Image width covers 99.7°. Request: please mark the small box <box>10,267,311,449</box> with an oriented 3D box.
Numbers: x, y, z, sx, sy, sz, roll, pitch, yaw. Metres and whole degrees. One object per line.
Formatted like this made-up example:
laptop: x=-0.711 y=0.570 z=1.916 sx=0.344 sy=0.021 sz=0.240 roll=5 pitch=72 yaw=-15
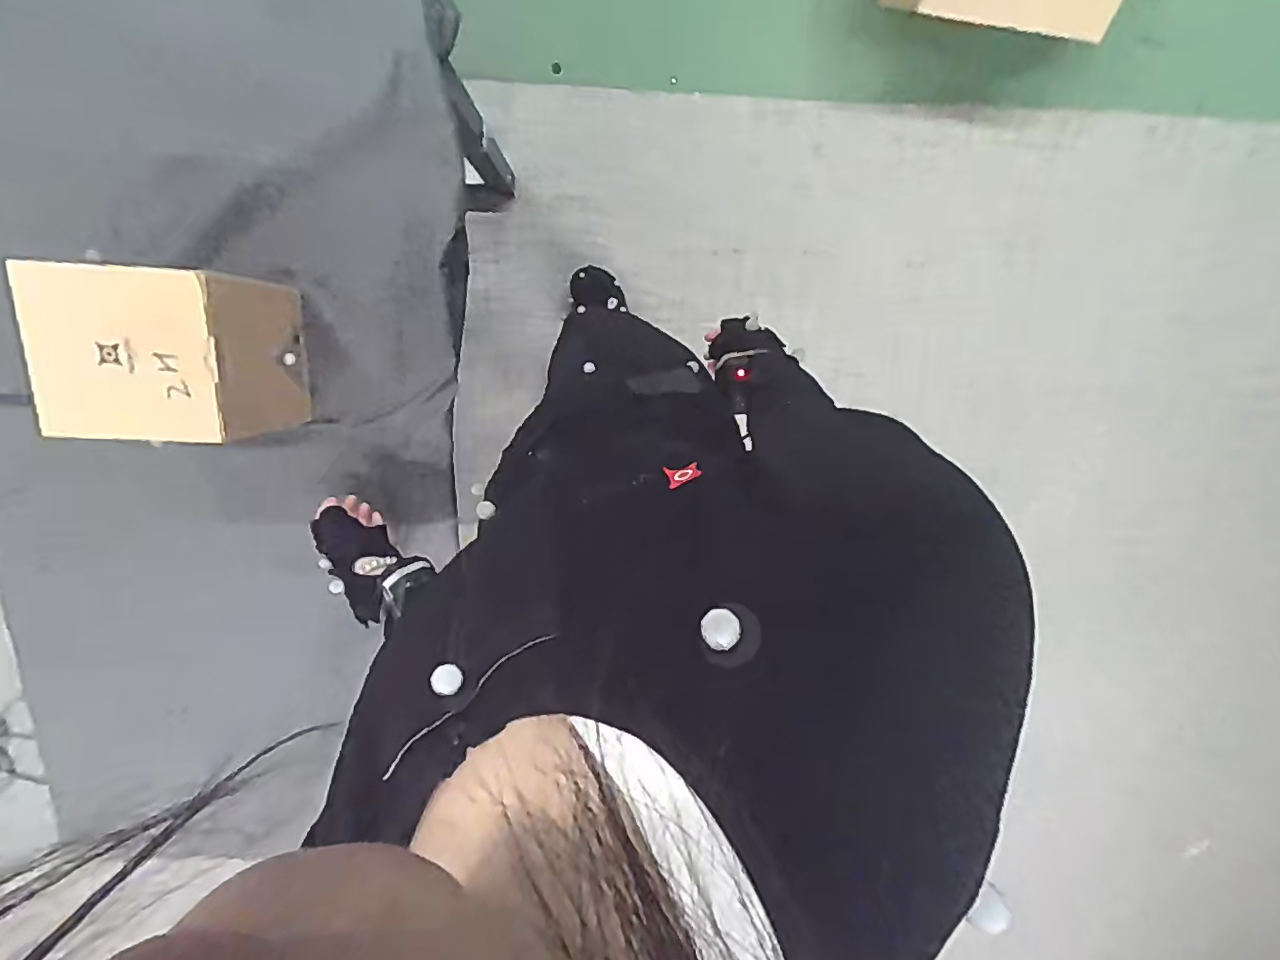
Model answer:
small box: x=-0.502 y=-0.131 z=0.597 sx=0.179 sy=0.176 sz=0.168 roll=2 pitch=104 yaw=-4
